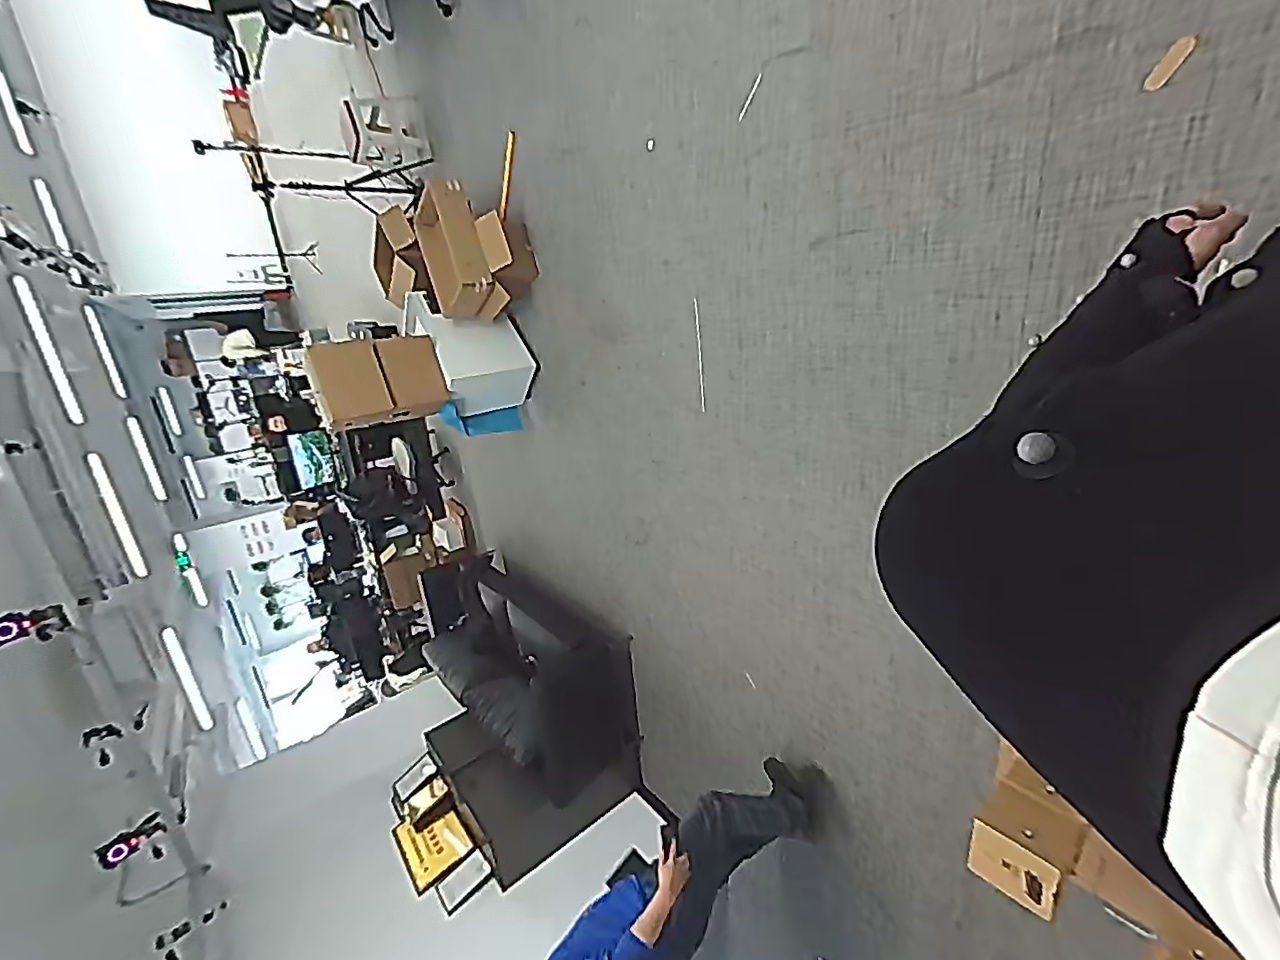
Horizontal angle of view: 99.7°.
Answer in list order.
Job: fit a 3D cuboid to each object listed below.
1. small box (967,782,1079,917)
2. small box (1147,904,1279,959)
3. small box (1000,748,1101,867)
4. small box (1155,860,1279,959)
[{"bbox_3d":[0.930,0.883,1.313,0.179,0.176,0.168,17,118,48],"label":"small box"},{"bbox_3d":[1.284,1.112,1.218,0.179,0.176,0.168,27,126,45],"label":"small box"},{"bbox_3d":[1.058,0.837,1.407,0.179,0.176,0.168,16,117,48],"label":"small box"},{"bbox_3d":[1.414,1.075,1.313,0.179,0.176,0.168,27,126,45],"label":"small box"}]
